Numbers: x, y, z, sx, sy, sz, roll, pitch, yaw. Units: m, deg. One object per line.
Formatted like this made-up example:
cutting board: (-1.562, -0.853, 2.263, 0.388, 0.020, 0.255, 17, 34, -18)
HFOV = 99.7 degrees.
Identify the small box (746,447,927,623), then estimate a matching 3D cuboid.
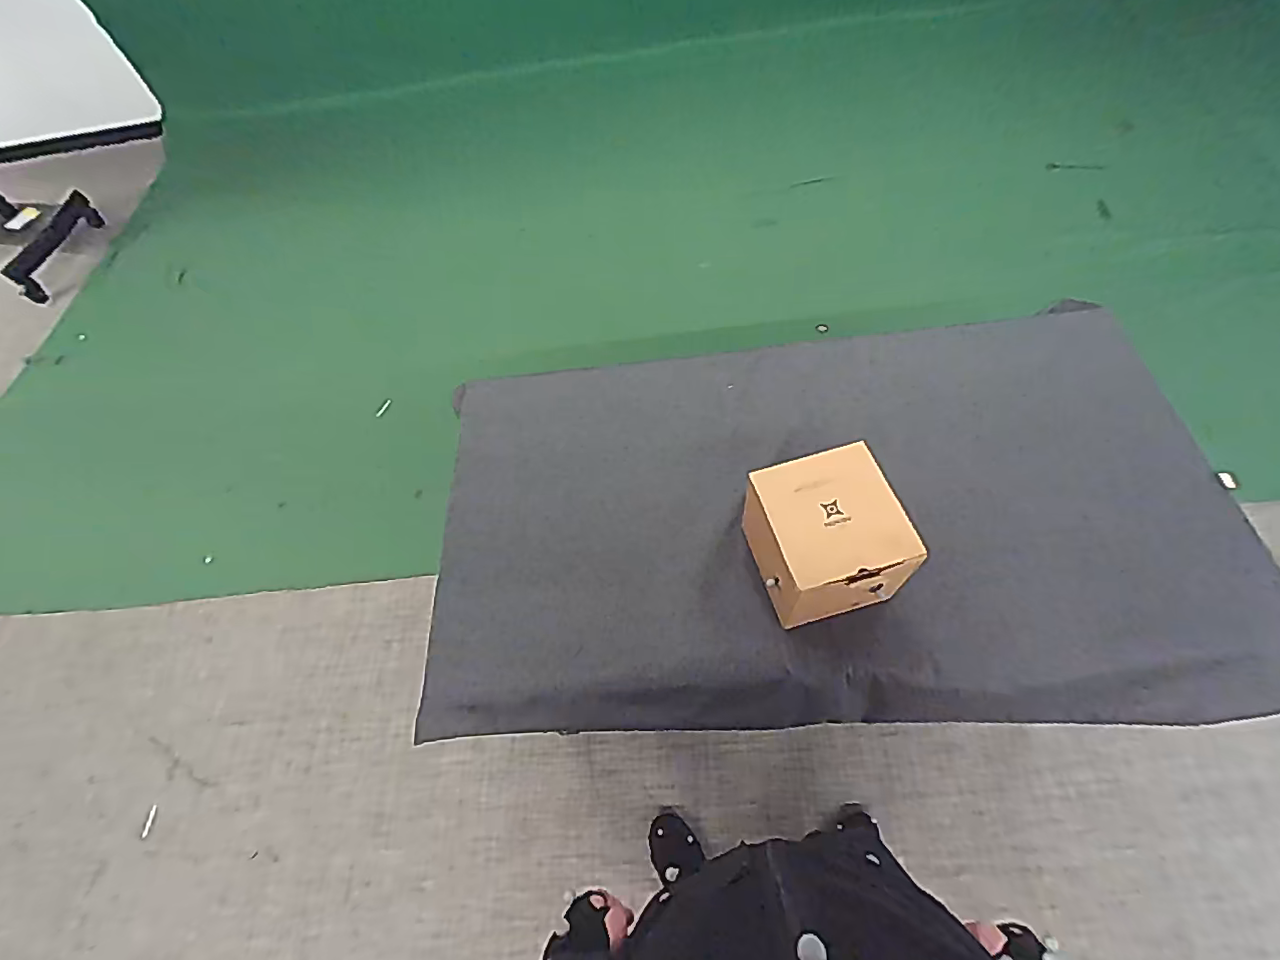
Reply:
small box: (0.257, 0.087, 0.757, 0.168, 0.176, 0.179, -16, 59, -3)
